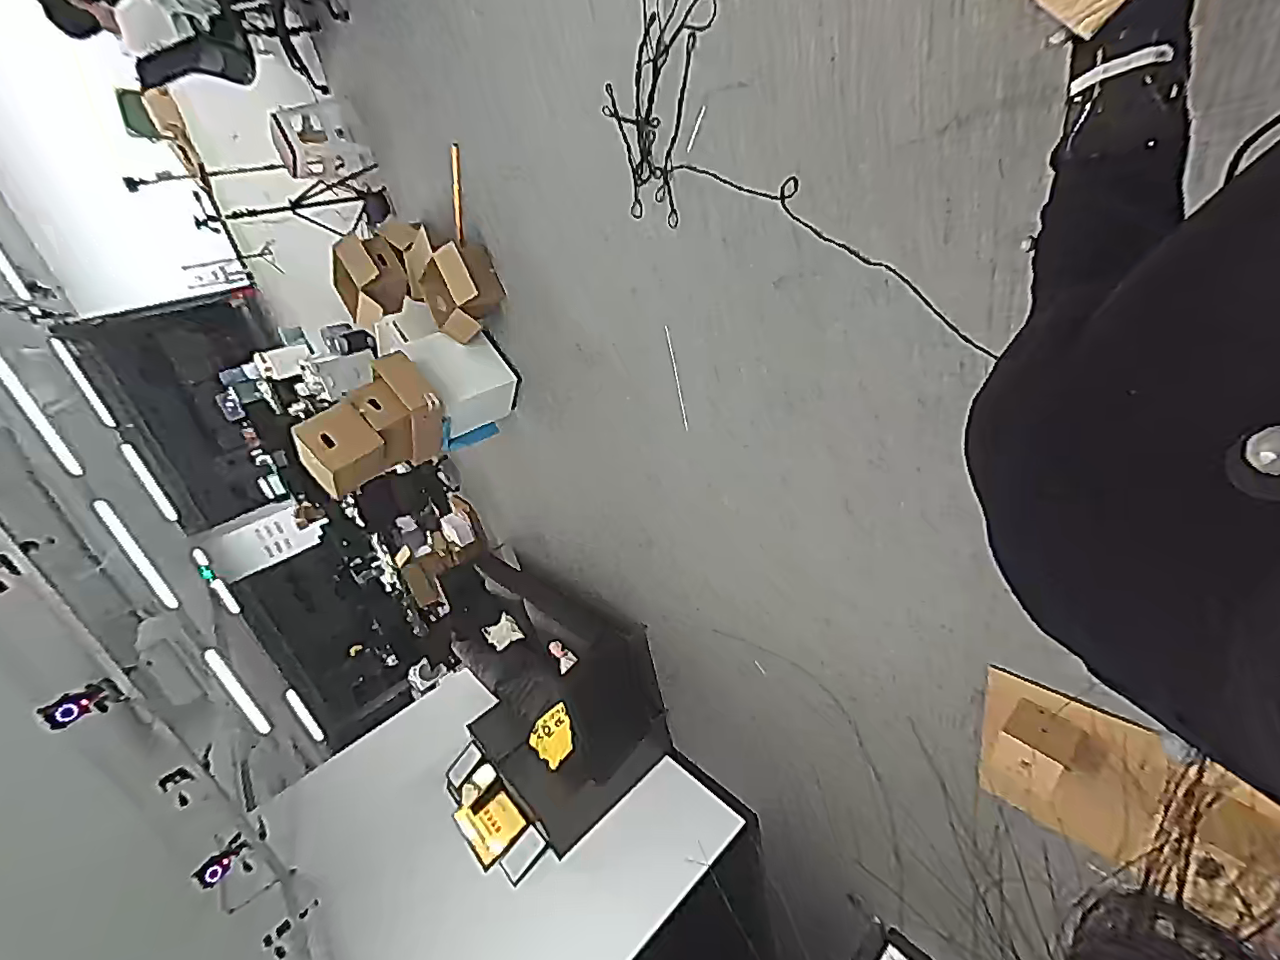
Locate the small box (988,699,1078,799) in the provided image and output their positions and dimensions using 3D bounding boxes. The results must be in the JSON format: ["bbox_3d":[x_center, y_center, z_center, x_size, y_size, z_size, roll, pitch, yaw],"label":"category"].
[{"bbox_3d":[1.206,0.816,1.657,0.168,0.176,0.179,26,135,44],"label":"small box"}]
